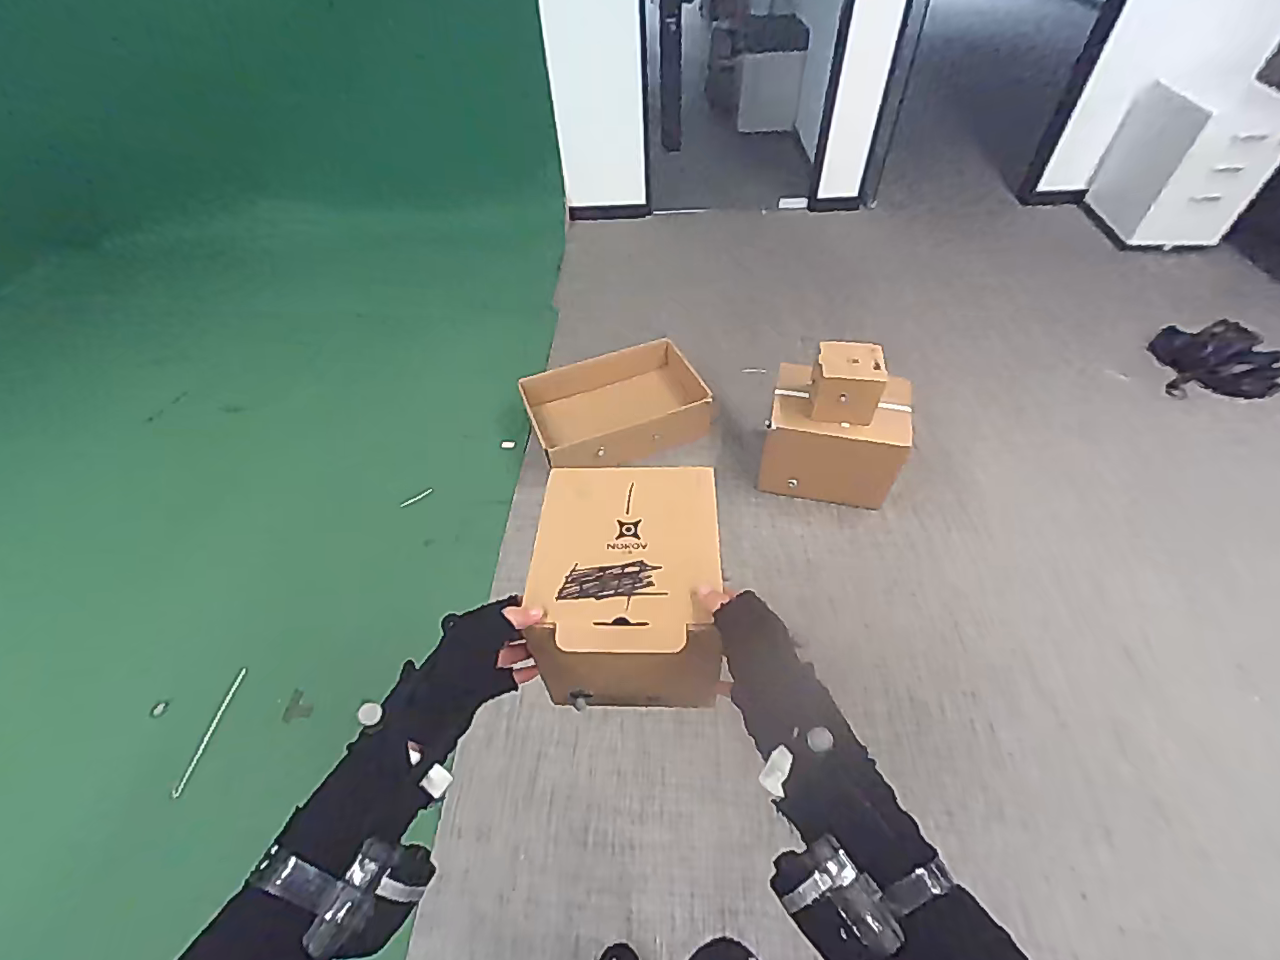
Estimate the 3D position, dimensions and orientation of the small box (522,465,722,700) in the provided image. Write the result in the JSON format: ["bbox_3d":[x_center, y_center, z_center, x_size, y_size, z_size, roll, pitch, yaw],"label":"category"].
[{"bbox_3d":[-0.006,0.105,0.543,0.168,0.176,0.179,0,46,4],"label":"small box"}]

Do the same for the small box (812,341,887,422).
[{"bbox_3d":[0.603,-0.287,1.582,0.179,0.176,0.168,5,52,9],"label":"small box"}]
